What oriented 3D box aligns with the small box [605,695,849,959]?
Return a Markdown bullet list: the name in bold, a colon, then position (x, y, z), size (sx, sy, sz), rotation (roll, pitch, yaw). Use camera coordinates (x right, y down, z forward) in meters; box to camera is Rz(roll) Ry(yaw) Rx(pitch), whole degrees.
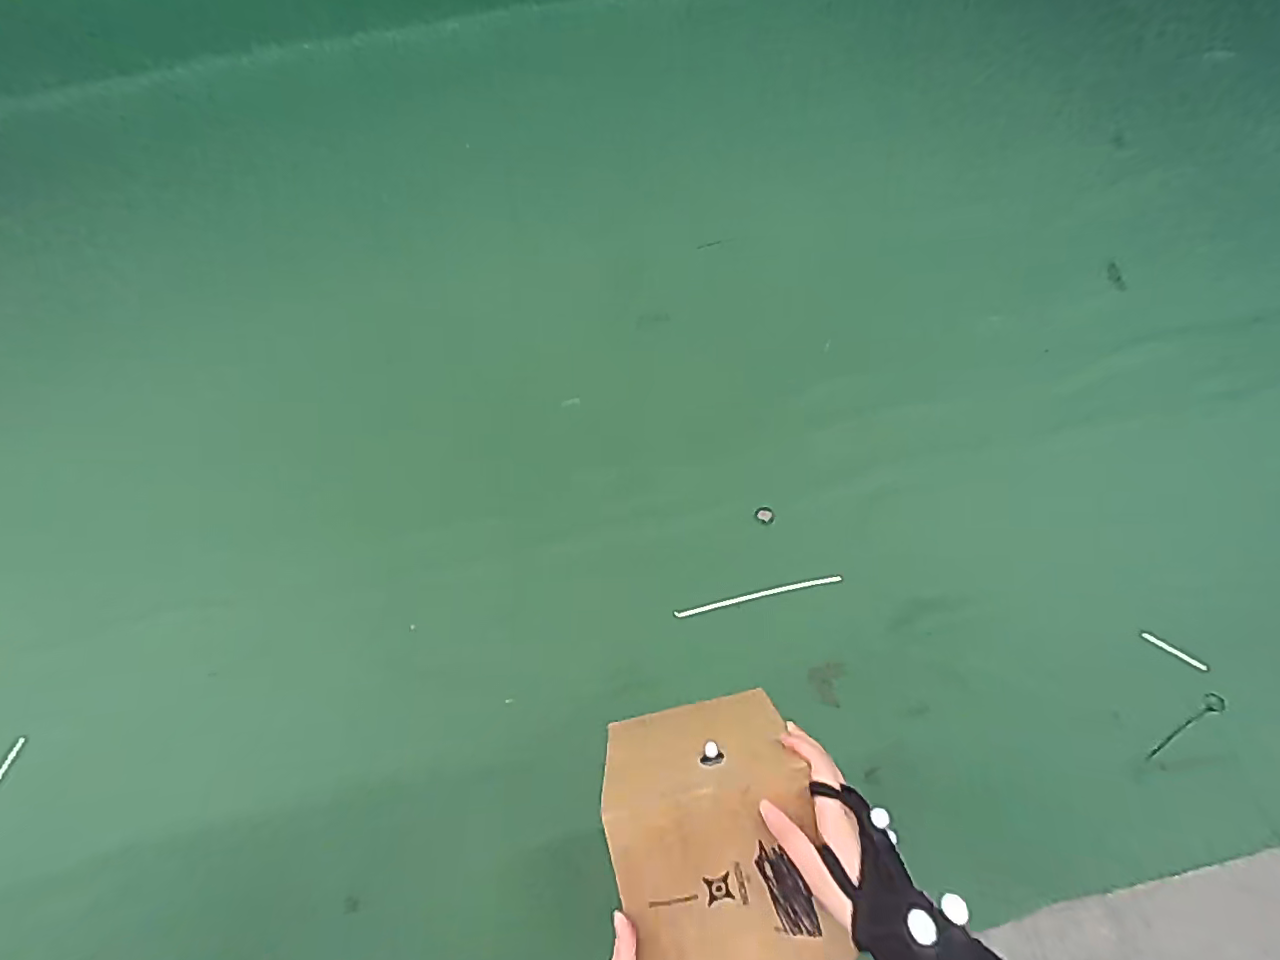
- **small box**: position (0.070, 0.330, 0.523), size (0.179, 0.176, 0.168), rotation (-13, 88, 0)
